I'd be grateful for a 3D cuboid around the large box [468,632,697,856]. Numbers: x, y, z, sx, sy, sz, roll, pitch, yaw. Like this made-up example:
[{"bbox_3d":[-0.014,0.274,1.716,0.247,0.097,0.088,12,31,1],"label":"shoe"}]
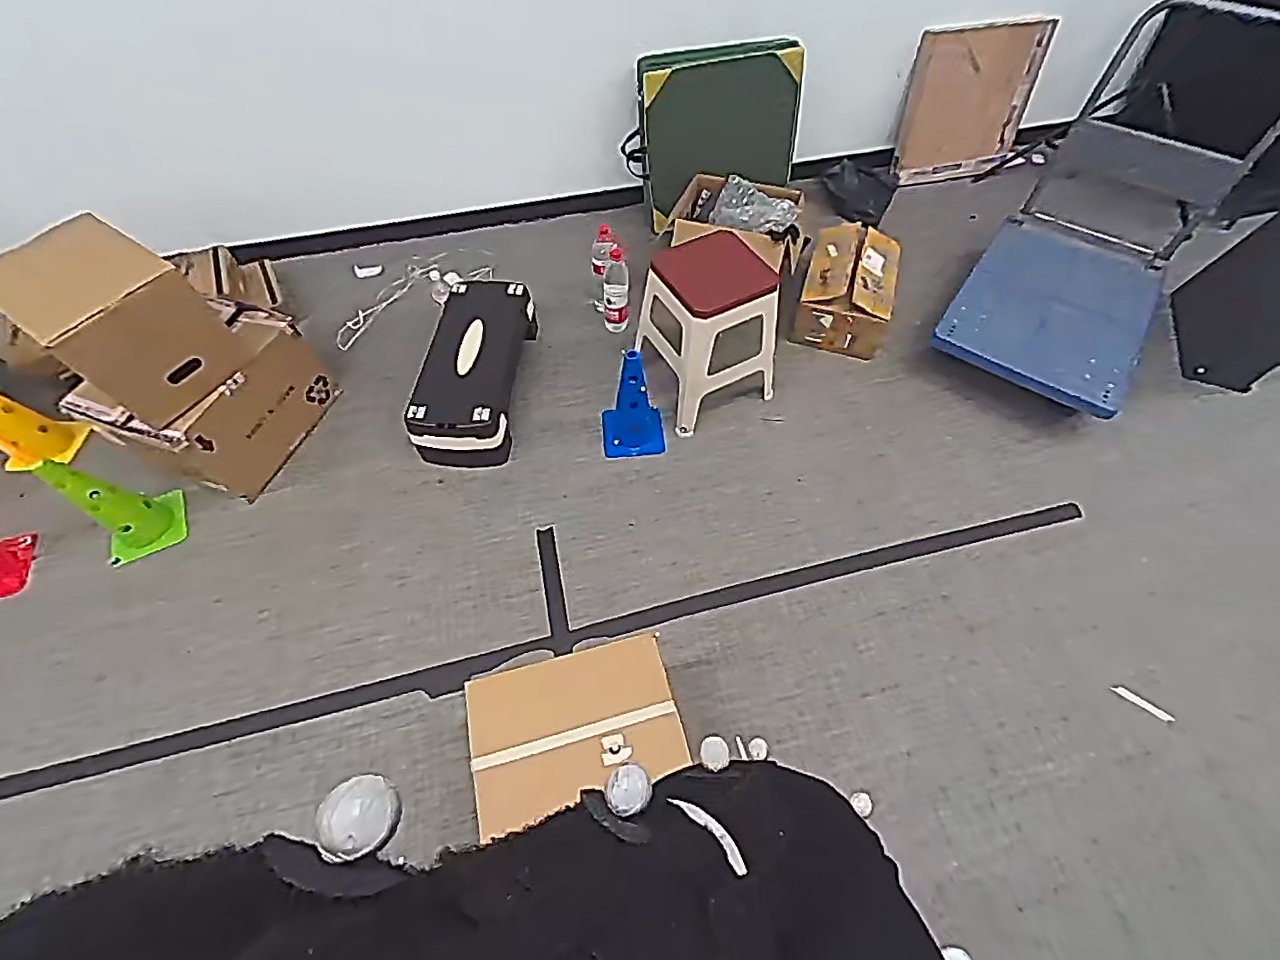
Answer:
[{"bbox_3d":[-0.125,0.575,1.179,0.408,0.320,0.320,-12,59,-9],"label":"large box"}]
